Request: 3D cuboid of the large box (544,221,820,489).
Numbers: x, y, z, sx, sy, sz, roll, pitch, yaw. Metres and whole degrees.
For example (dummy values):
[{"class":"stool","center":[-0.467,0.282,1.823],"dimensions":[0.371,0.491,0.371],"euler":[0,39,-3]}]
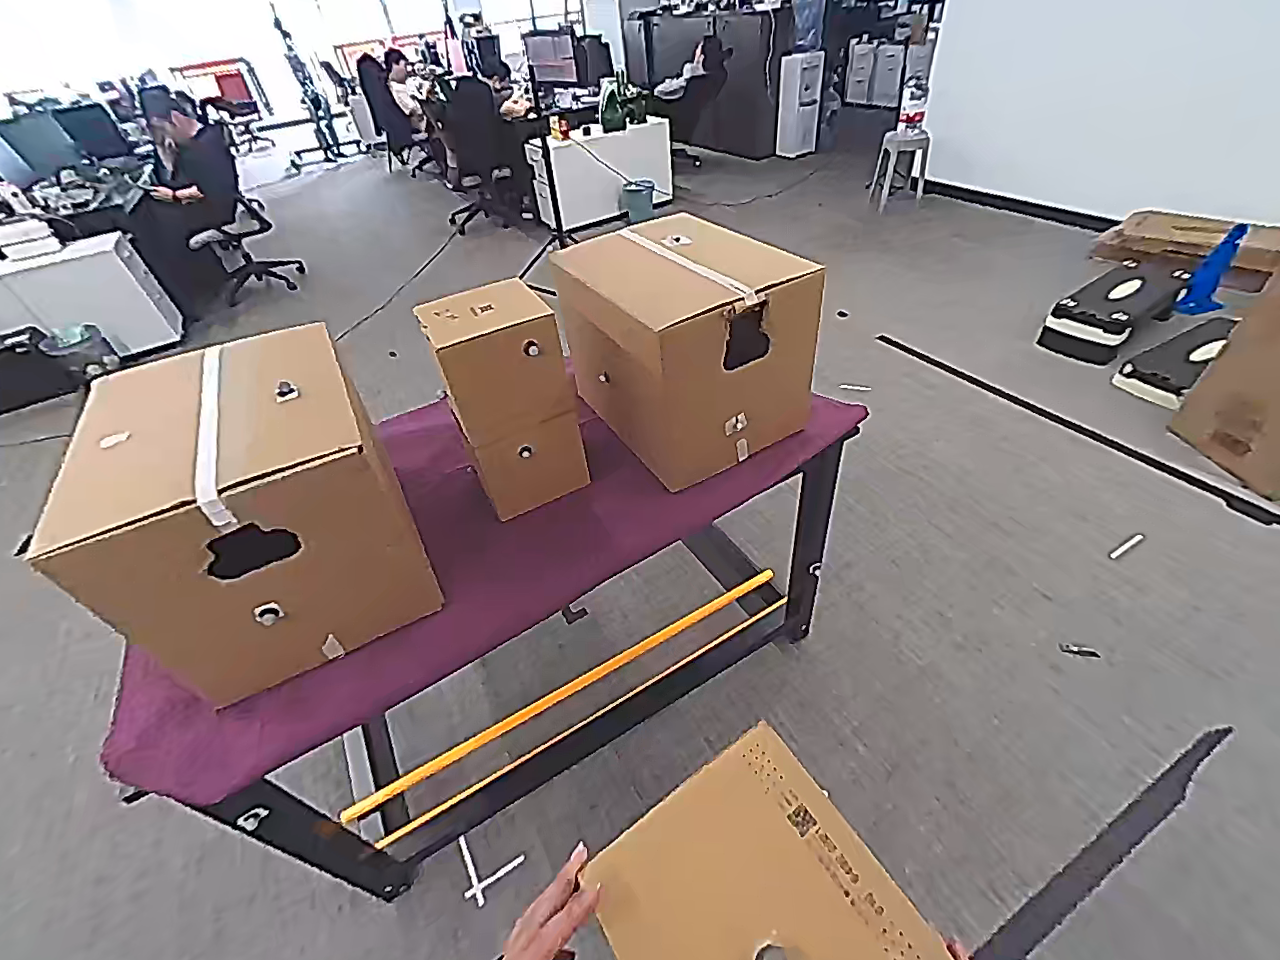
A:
[{"class":"large box","center":[0.069,-0.251,1.016],"dimensions":[0.320,0.320,0.408],"euler":[-25,44,-19]}]
